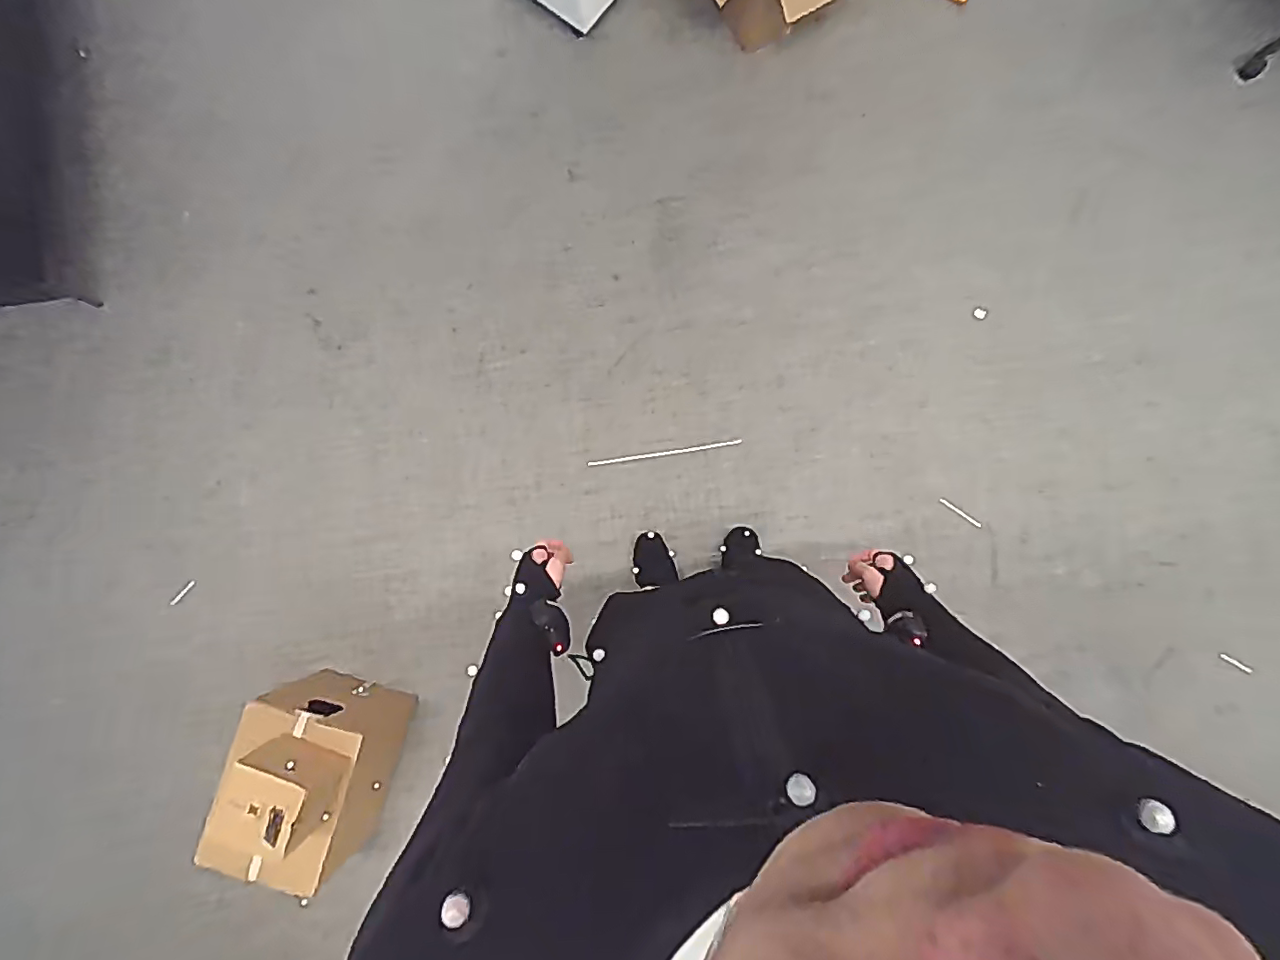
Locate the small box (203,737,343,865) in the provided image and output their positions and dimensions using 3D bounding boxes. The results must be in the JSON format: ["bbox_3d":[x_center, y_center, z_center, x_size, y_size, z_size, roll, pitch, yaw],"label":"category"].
[{"bbox_3d":[-0.817,0.713,1.225,0.179,0.176,0.168,20,85,2],"label":"small box"}]

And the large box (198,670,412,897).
[{"bbox_3d":[-0.875,0.786,1.466,0.320,0.320,0.408,15,86,3],"label":"large box"}]
